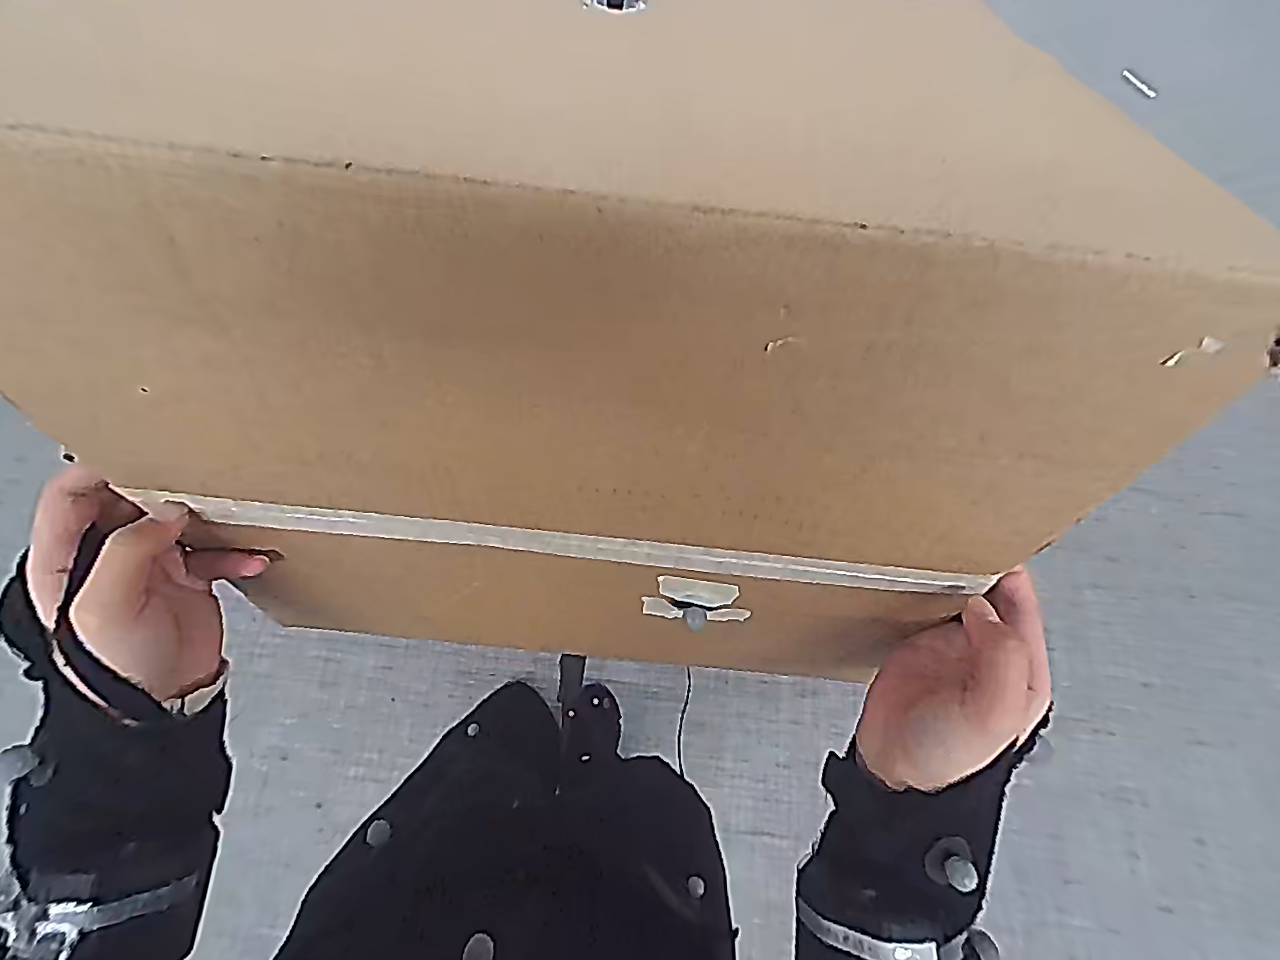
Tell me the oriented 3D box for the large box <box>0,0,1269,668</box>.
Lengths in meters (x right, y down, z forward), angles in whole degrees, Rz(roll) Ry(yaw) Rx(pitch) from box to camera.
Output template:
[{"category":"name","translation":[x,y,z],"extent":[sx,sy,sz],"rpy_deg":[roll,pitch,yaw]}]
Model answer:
[{"category":"large box","translation":[-0.025,-0.094,0.355],"extent":[0.408,0.320,0.320],"rpy_deg":[5,53,-1]}]
